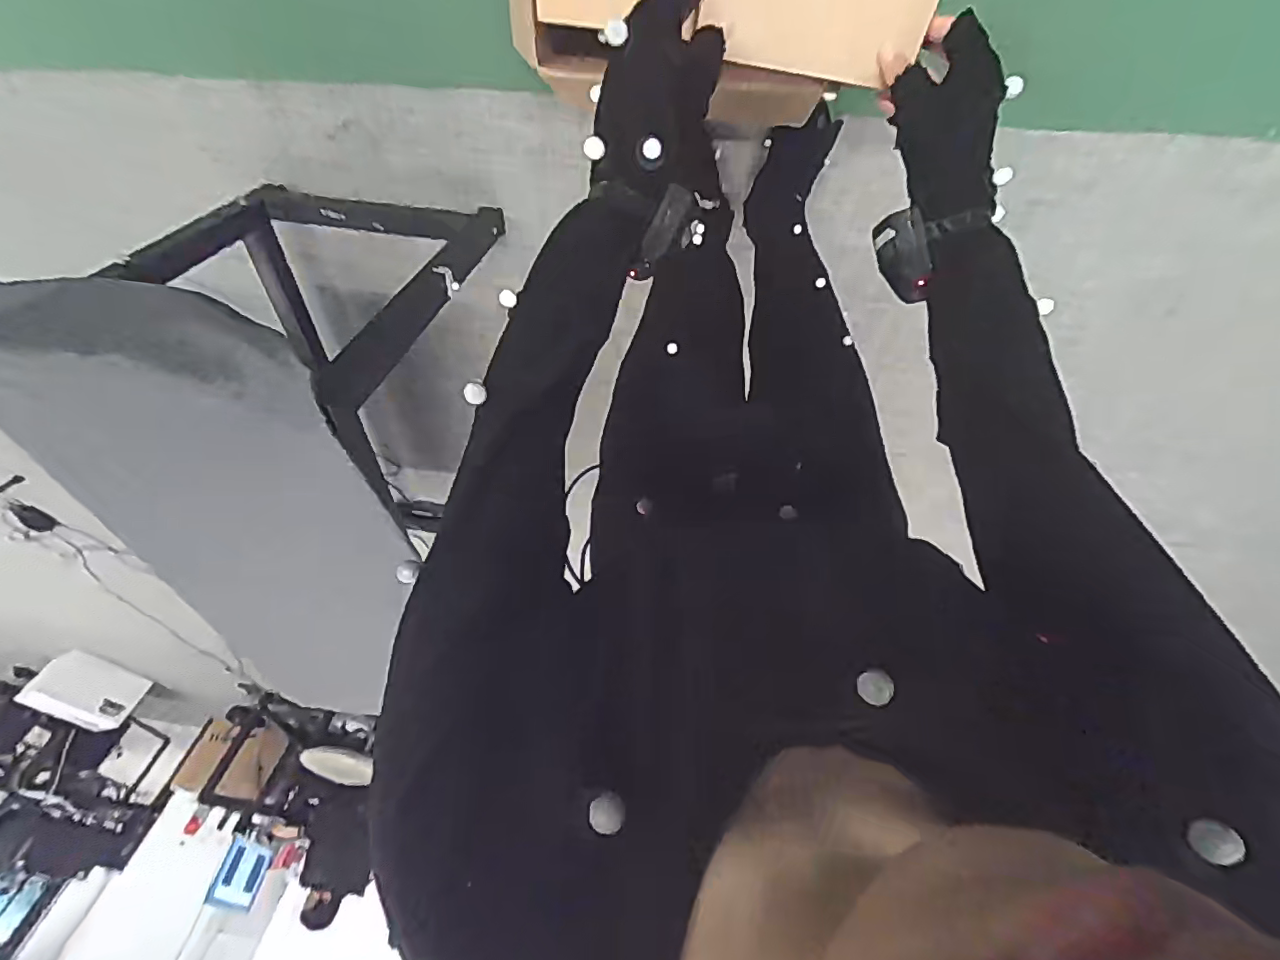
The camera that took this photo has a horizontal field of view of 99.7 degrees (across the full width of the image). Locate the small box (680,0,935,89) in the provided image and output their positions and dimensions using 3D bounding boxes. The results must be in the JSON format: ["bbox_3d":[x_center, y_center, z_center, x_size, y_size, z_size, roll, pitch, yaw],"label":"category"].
[{"bbox_3d":[0.134,-0.436,0.426,0.179,0.176,0.168,6,133,-6],"label":"small box"}]
